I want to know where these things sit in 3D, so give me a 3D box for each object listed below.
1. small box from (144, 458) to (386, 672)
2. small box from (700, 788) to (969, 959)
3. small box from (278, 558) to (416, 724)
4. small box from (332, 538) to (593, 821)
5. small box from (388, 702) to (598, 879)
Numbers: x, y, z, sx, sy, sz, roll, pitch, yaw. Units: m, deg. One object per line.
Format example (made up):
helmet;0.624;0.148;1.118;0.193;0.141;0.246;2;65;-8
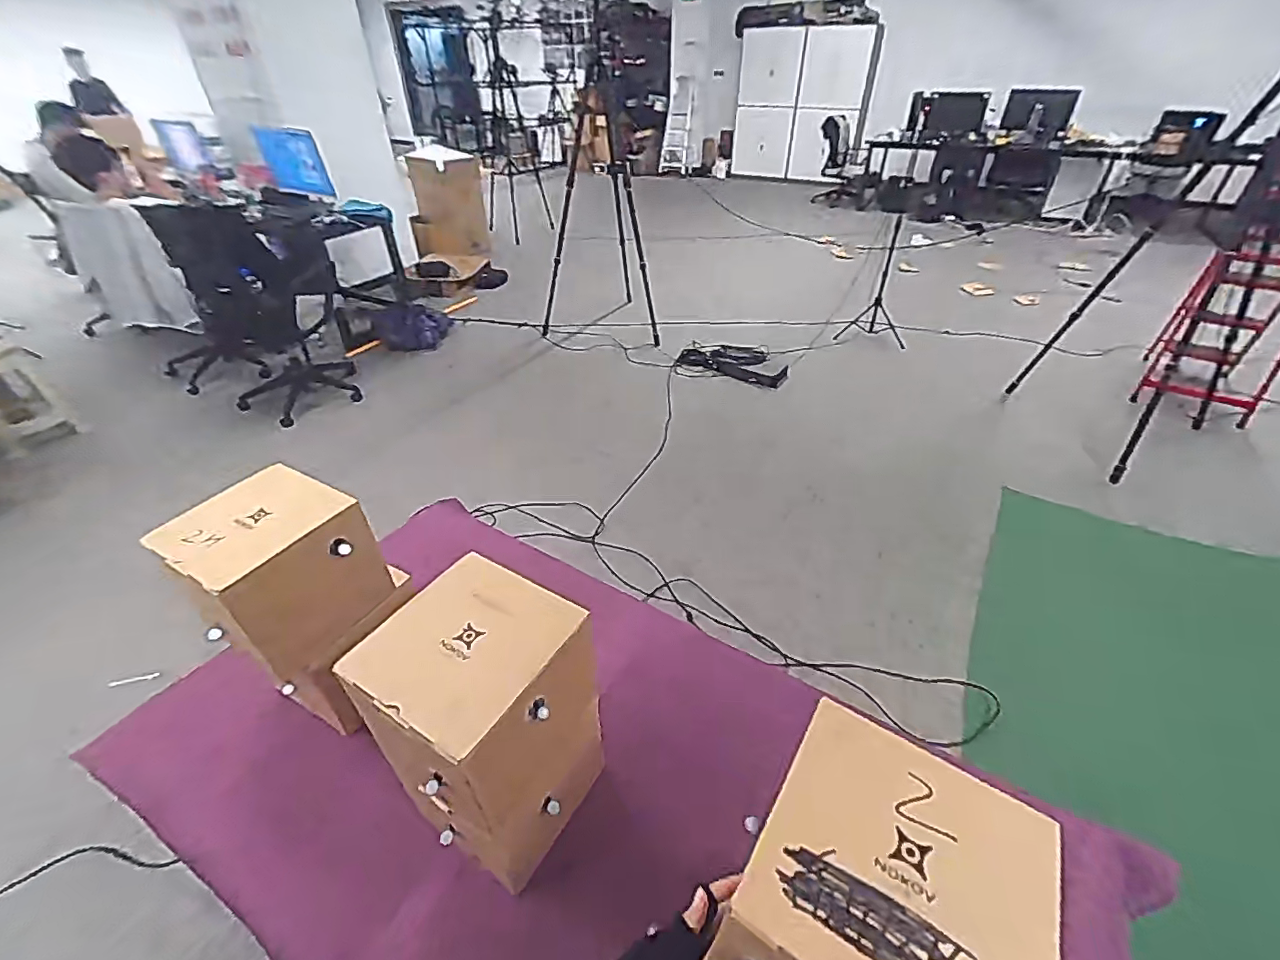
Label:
small box;-0.457;0.105;0.694;0.168;0.176;0.179;19;43;23
small box;0.160;0.437;0.485;0.168;0.176;0.179;26;40;29
small box;-0.443;0.221;0.812;0.168;0.176;0.179;18;43;22
small box;-0.159;0.197;0.547;0.168;0.176;0.179;21;43;25
small box;-0.163;0.337;0.664;0.168;0.176;0.179;18;41;24
